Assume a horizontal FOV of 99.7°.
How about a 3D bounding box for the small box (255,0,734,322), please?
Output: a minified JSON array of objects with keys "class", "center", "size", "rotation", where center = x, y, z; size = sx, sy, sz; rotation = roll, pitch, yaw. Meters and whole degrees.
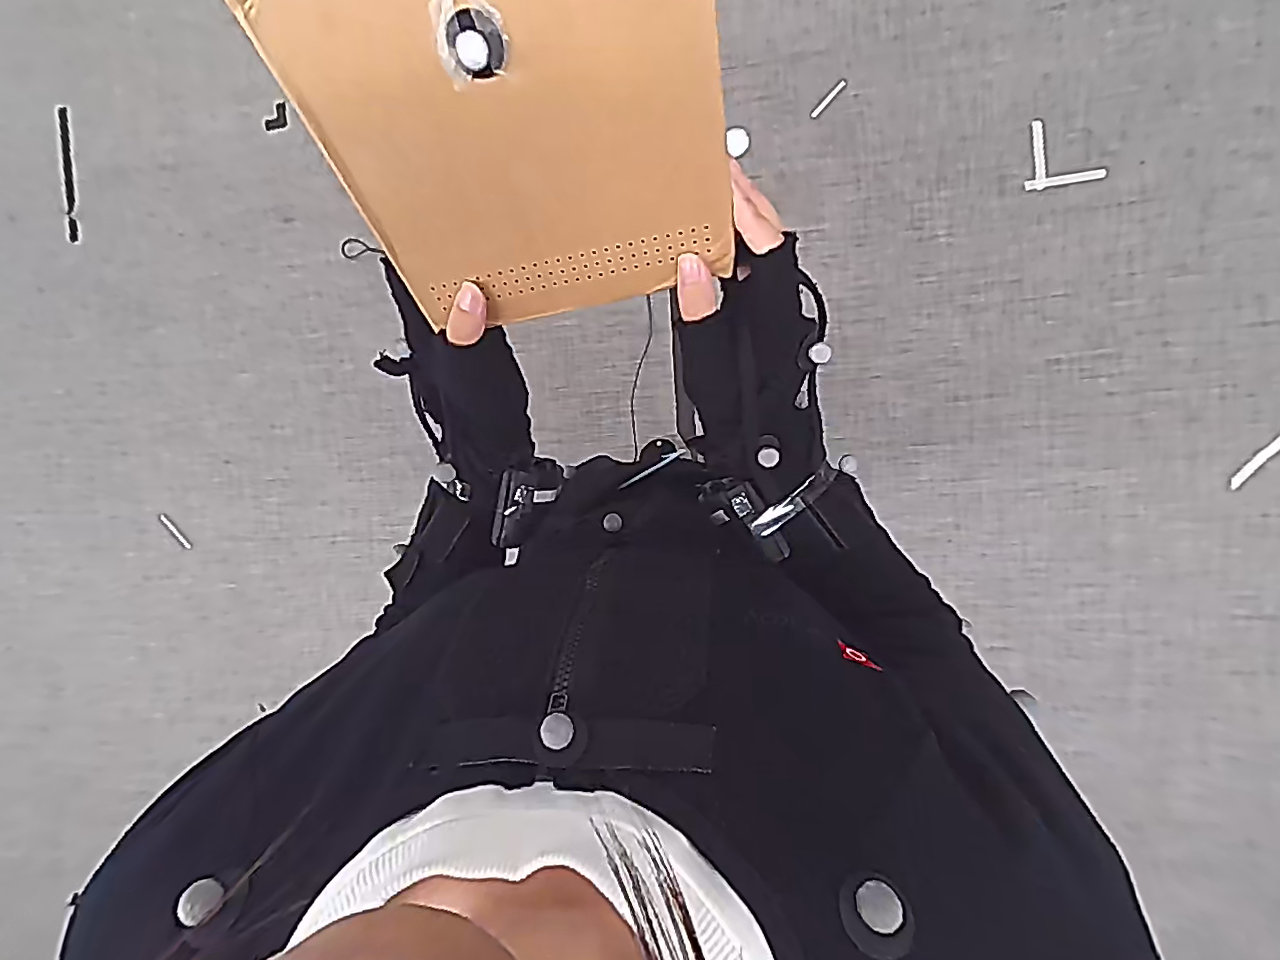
[{"class":"small box","center":[-0.049,-0.212,0.303],"size":[0.179,0.176,0.168],"rotation":[-8,53,9]}]
